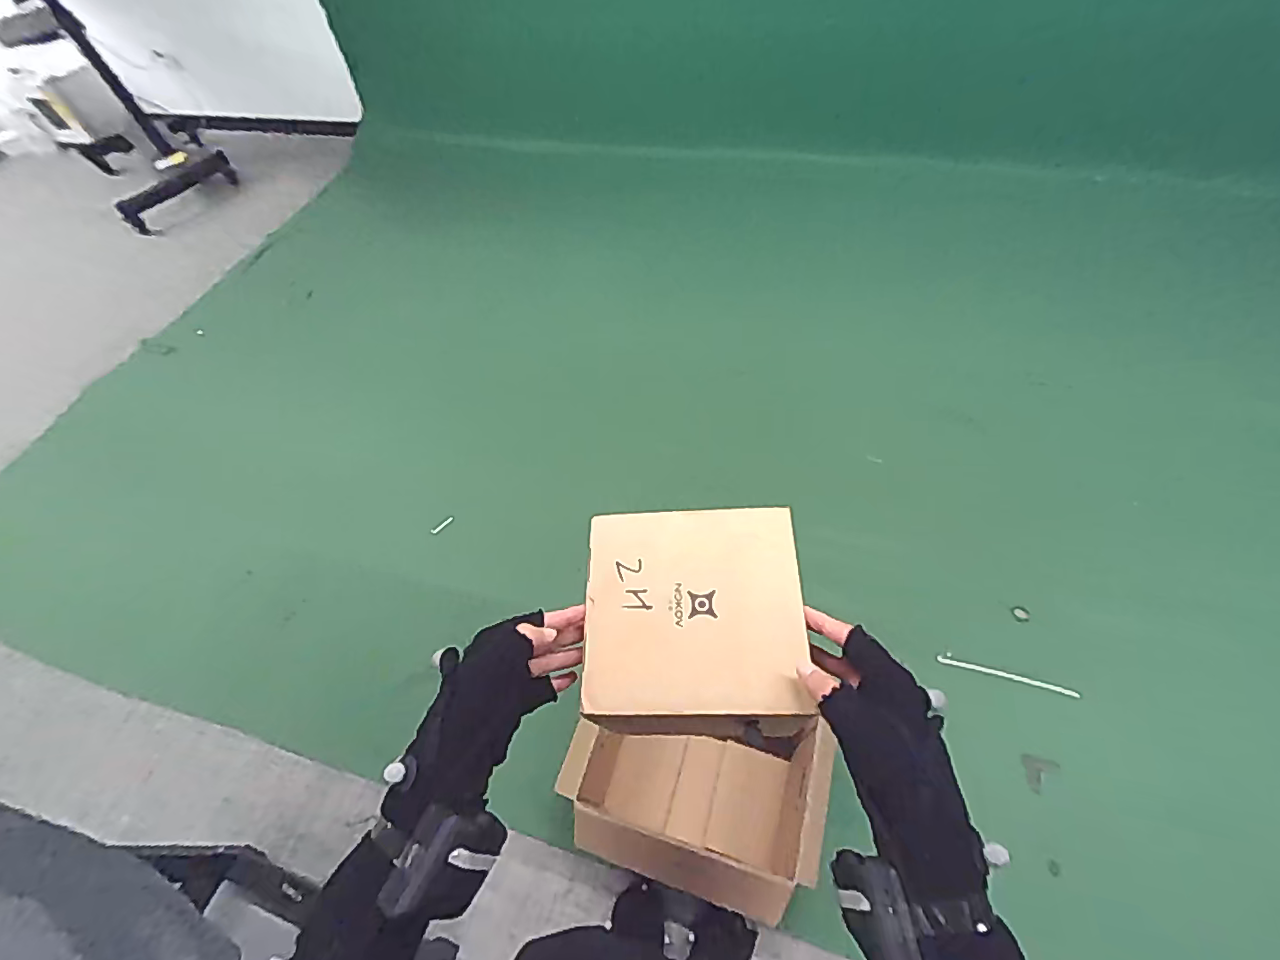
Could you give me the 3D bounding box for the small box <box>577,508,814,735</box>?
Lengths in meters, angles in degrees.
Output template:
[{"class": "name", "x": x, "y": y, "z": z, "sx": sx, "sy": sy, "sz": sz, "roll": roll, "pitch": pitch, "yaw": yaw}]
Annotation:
[{"class": "small box", "x": 0.049, "y": 0.138, "z": 0.501, "sx": 0.179, "sy": 0.176, "sz": 0.168, "roll": -3, "pitch": 60, "yaw": 7}]
